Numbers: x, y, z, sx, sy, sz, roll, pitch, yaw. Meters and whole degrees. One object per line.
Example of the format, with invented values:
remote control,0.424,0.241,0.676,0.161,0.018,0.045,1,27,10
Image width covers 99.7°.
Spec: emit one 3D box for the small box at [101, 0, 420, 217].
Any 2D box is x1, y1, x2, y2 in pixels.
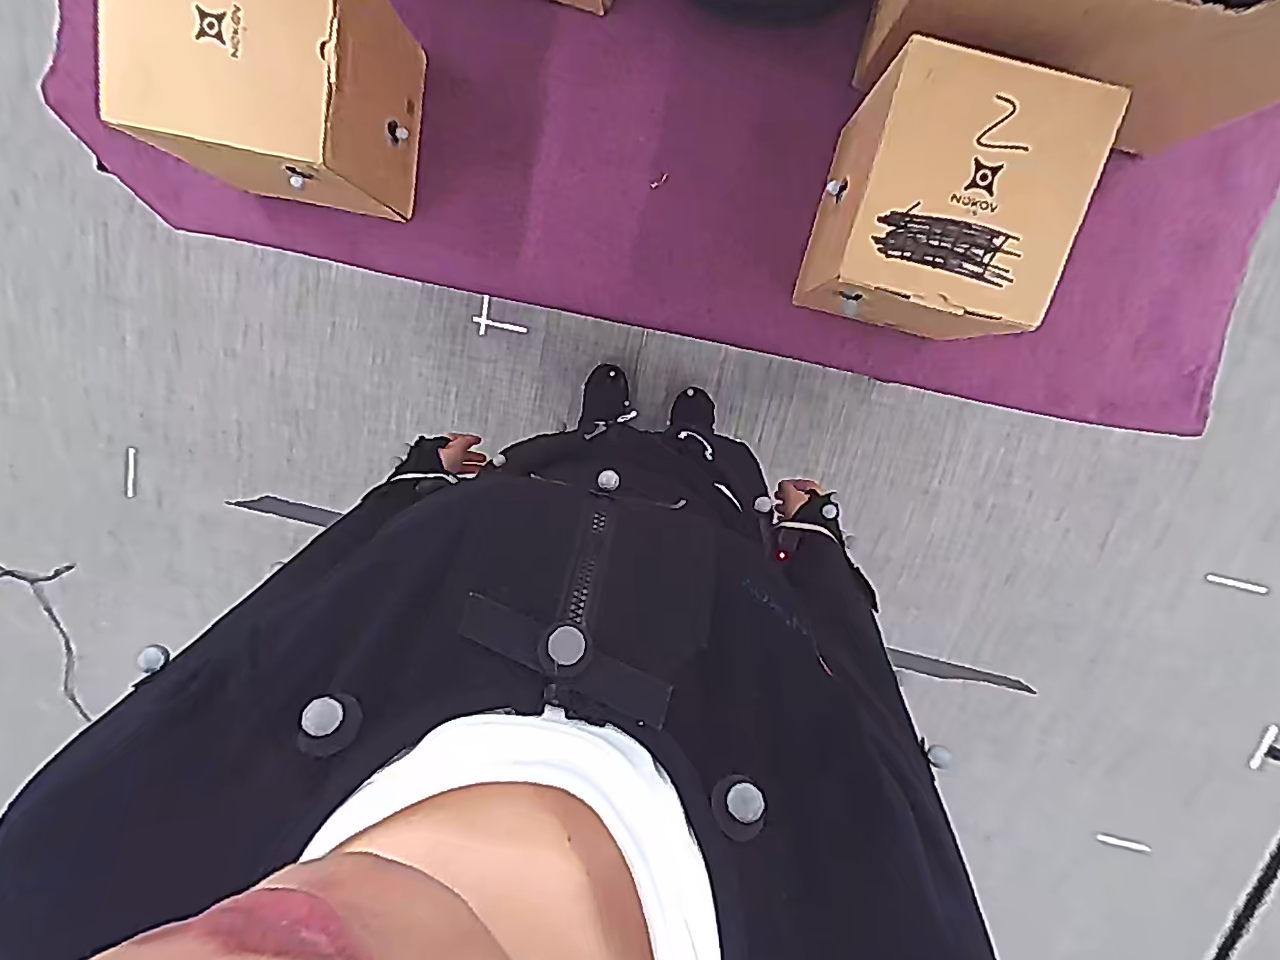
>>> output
small box,-0.327,-0.360,0.495,0.179,0.176,0.168,9,101,-3
